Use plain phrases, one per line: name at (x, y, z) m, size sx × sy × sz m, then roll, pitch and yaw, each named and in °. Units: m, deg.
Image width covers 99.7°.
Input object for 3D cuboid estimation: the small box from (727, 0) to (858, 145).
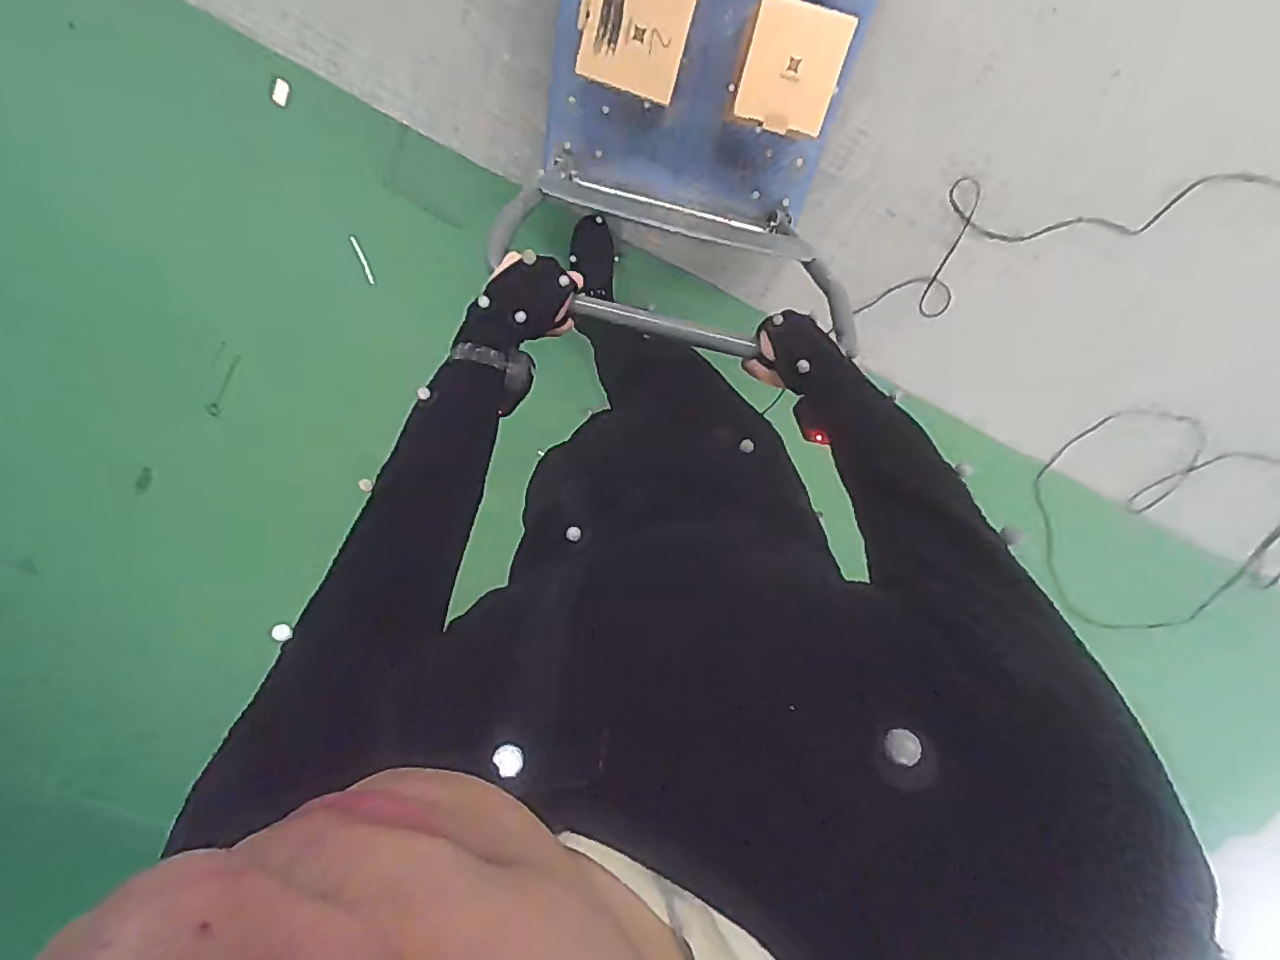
small box at (0.268, -0.745, 1.003) m, size 0.168 × 0.176 × 0.179 m, roll 12°, pitch 123°, yaw -6°
